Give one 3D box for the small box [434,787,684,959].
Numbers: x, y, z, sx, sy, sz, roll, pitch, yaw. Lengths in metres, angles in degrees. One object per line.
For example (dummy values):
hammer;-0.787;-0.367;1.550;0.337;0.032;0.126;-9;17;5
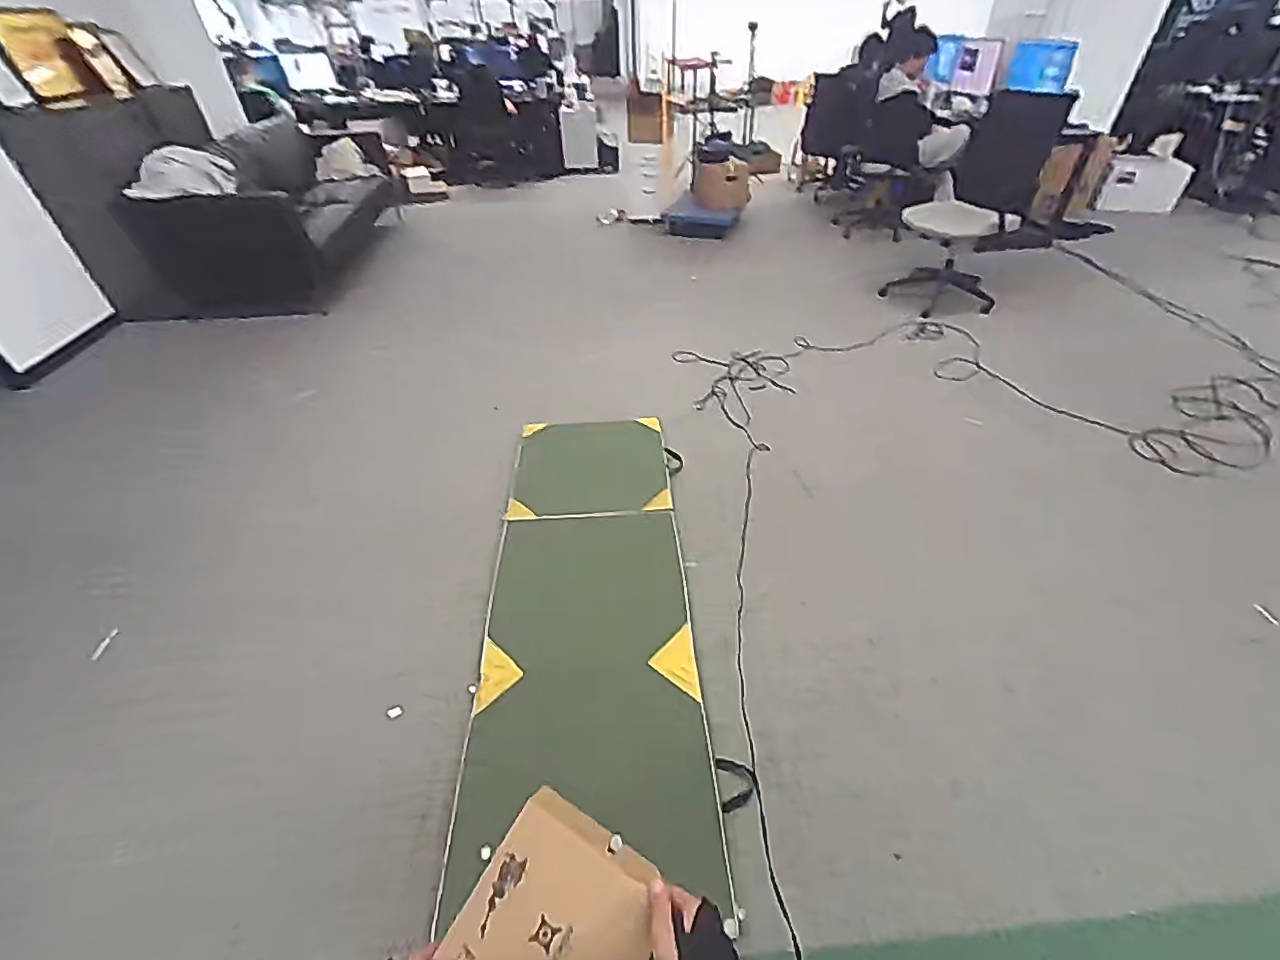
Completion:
small box;-0.078;0.454;0.575;0.179;0.176;0.168;32;66;10
